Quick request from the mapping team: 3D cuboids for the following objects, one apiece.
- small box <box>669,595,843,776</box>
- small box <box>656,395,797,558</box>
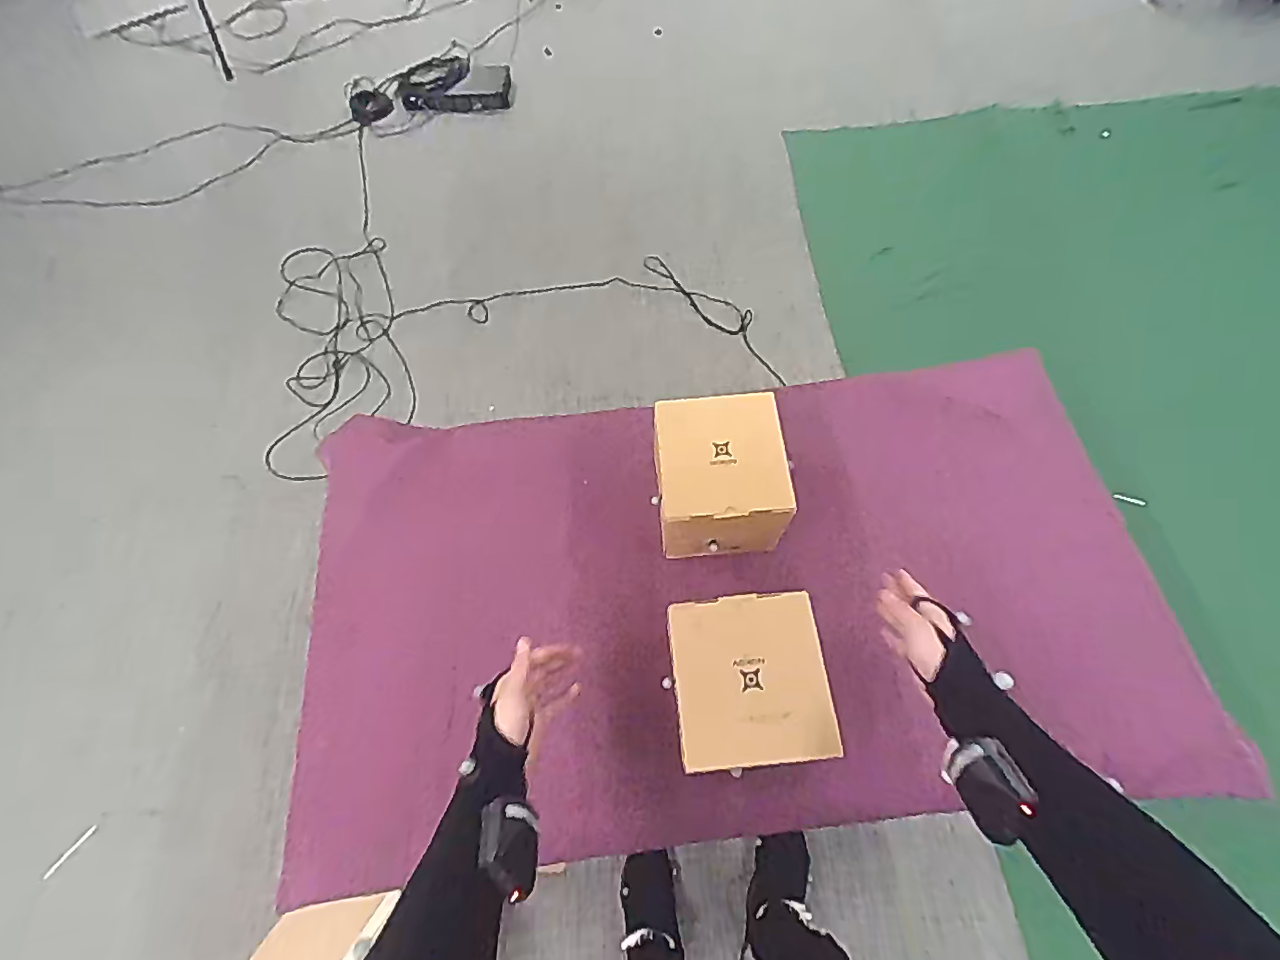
[{"bbox_3d":[0.123,0.250,0.652,0.168,0.176,0.179,-6,65,2],"label":"small box"},{"bbox_3d":[0.110,0.001,0.768,0.168,0.176,0.179,-5,67,1],"label":"small box"}]
